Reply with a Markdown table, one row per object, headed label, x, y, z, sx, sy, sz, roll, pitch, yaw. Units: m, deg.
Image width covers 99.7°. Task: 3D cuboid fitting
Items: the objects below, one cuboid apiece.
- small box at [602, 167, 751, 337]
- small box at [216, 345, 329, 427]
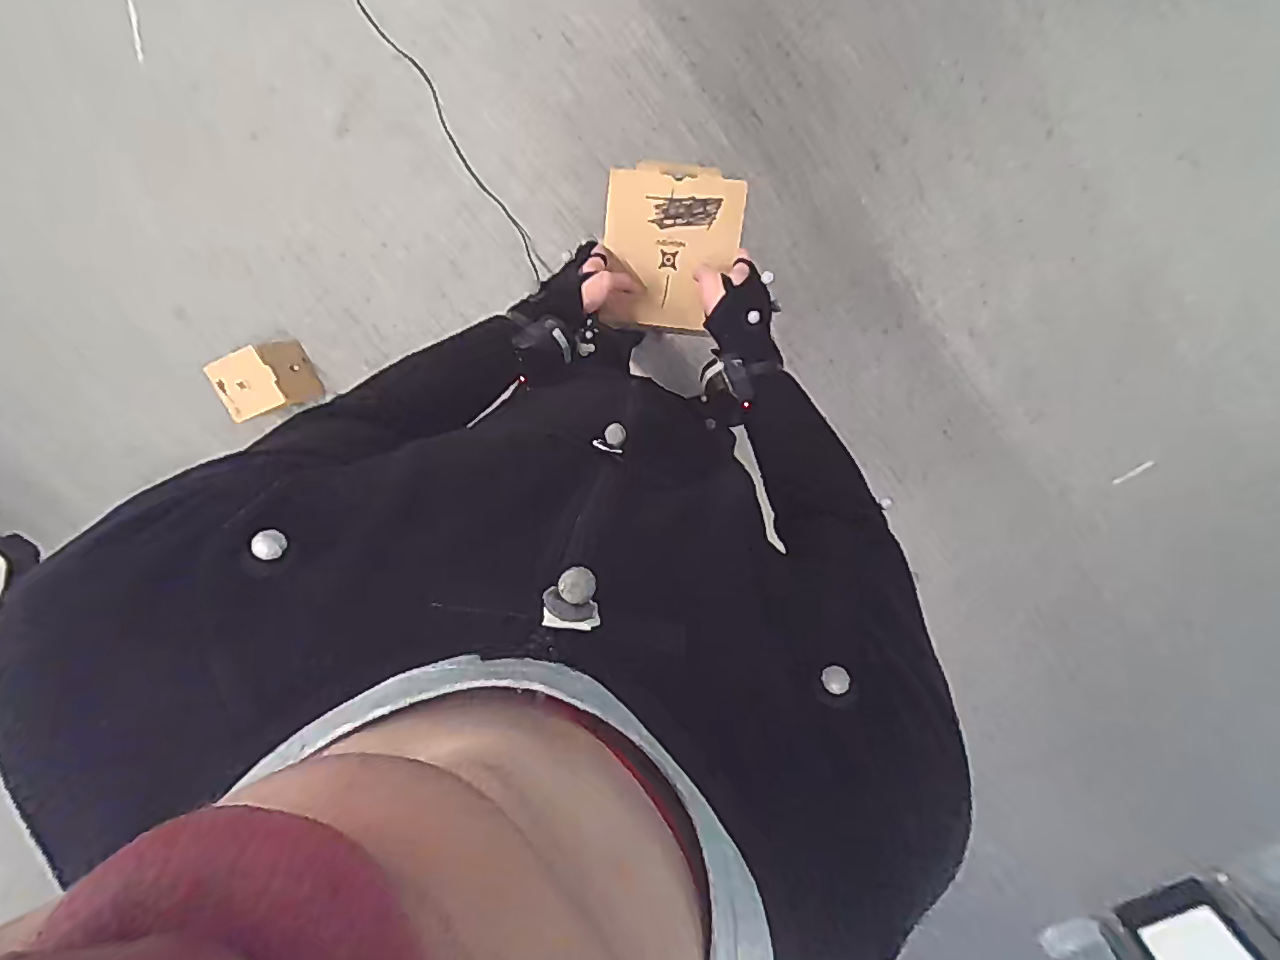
| label | x | y | z | sx | sy | sz | roll | pitch | yaw |
| --- | --- | --- | --- | --- | --- | --- | --- | --- | --- |
| small box | 0.047 | -0.291 | 0.724 | 0.168 | 0.176 | 0.179 | 6 | 104 | 4 |
| small box | -1.019 | -0.270 | 1.523 | 0.179 | 0.176 | 0.168 | -19 | 106 | 12 |
